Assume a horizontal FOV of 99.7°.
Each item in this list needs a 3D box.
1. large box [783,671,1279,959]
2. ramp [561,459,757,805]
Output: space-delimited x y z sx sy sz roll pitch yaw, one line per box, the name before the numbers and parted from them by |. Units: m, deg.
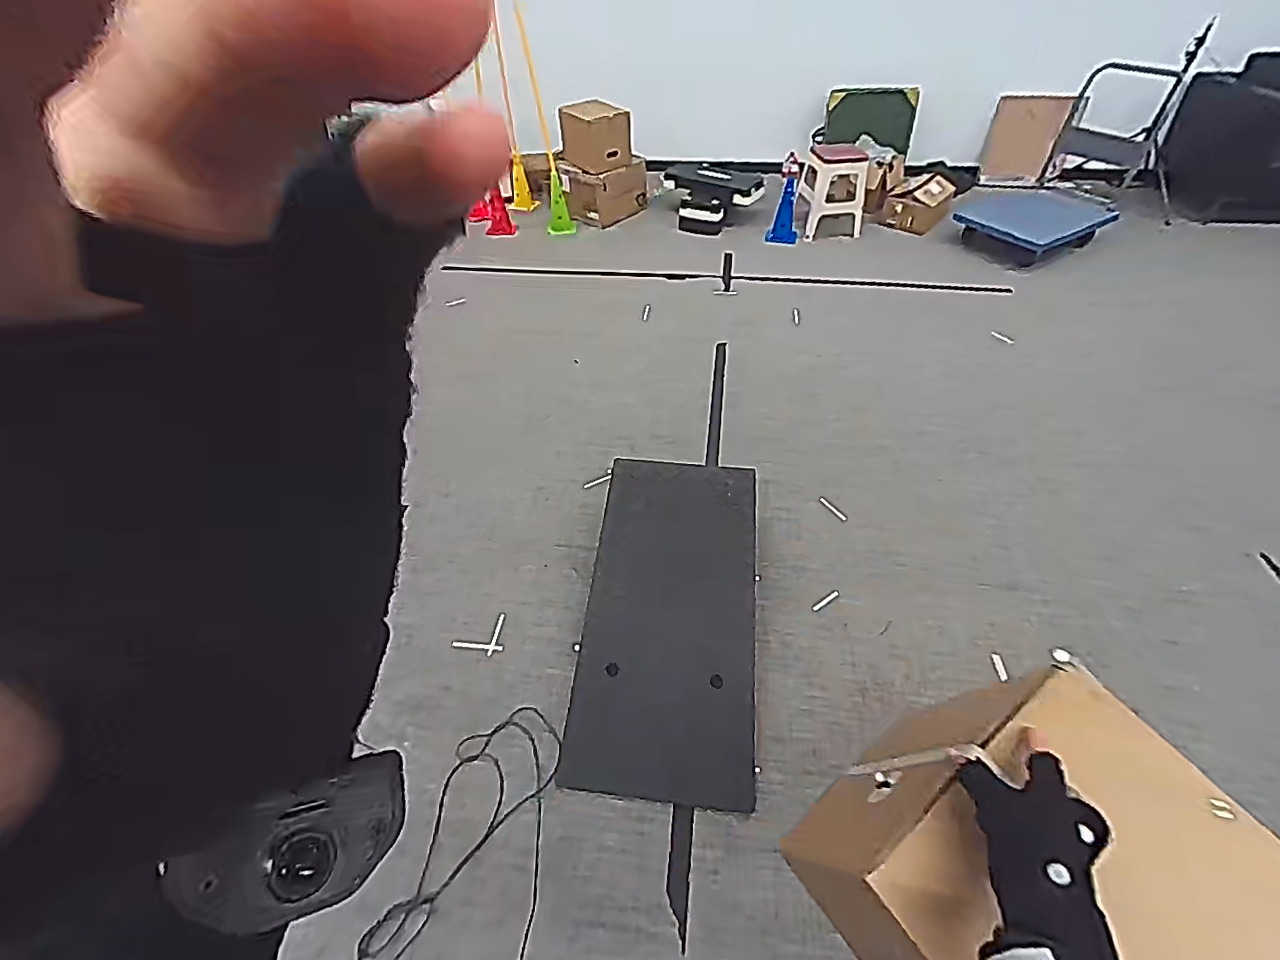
large box | 0.419 0.474 0.619 0.320 0.408 0.320 -33 65 -16
ramp | 0.101 0.361 1.605 0.509 0.206 0.991 4 47 4
